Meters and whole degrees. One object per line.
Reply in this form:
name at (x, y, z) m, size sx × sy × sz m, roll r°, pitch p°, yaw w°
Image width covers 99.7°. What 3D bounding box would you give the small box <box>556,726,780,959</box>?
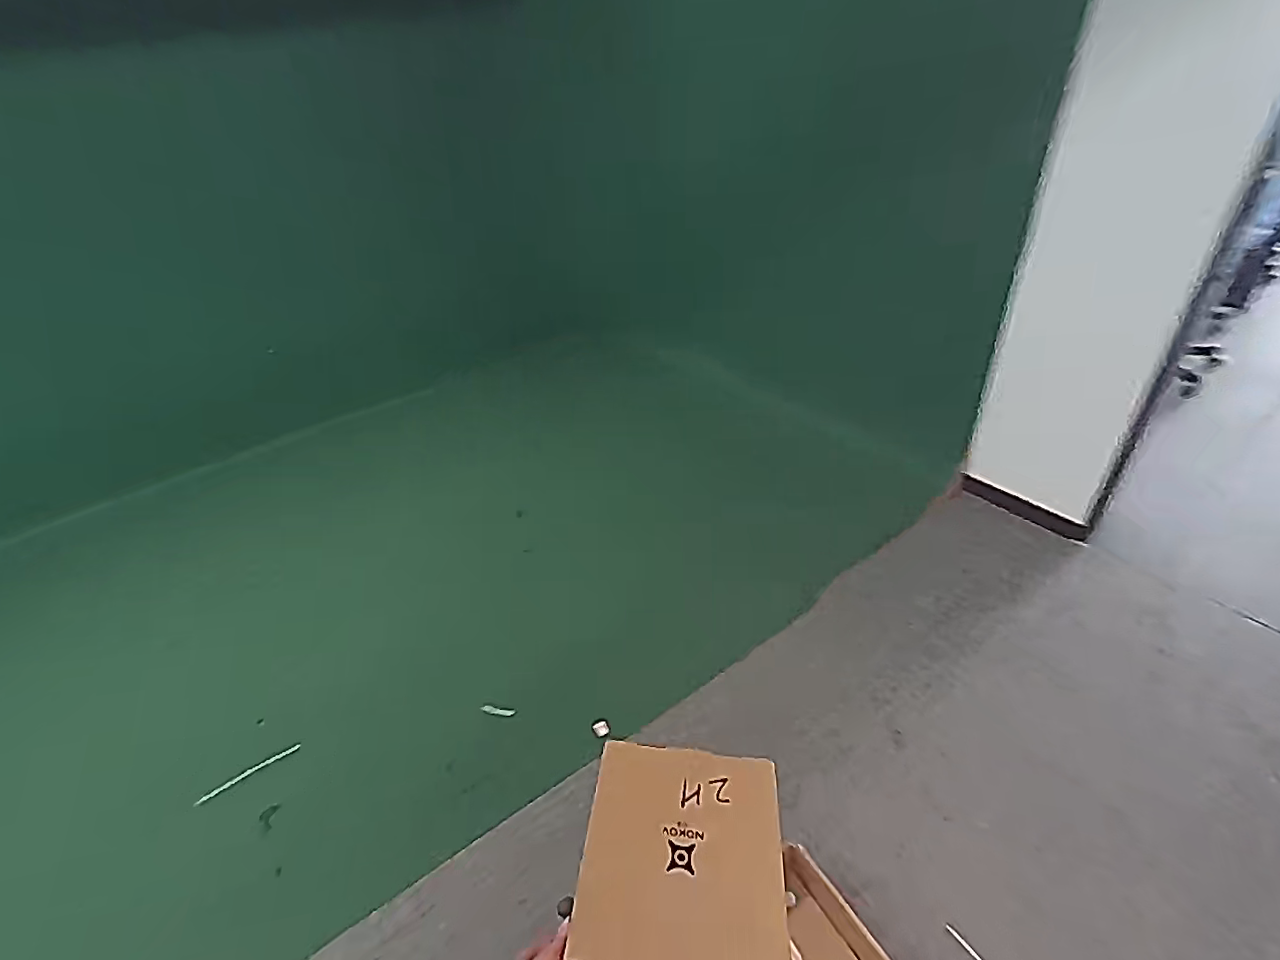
small box at (0.029, 0.362, 0.497) m, size 0.168 × 0.176 × 0.179 m, roll 5°, pitch 33°, yaw 5°
